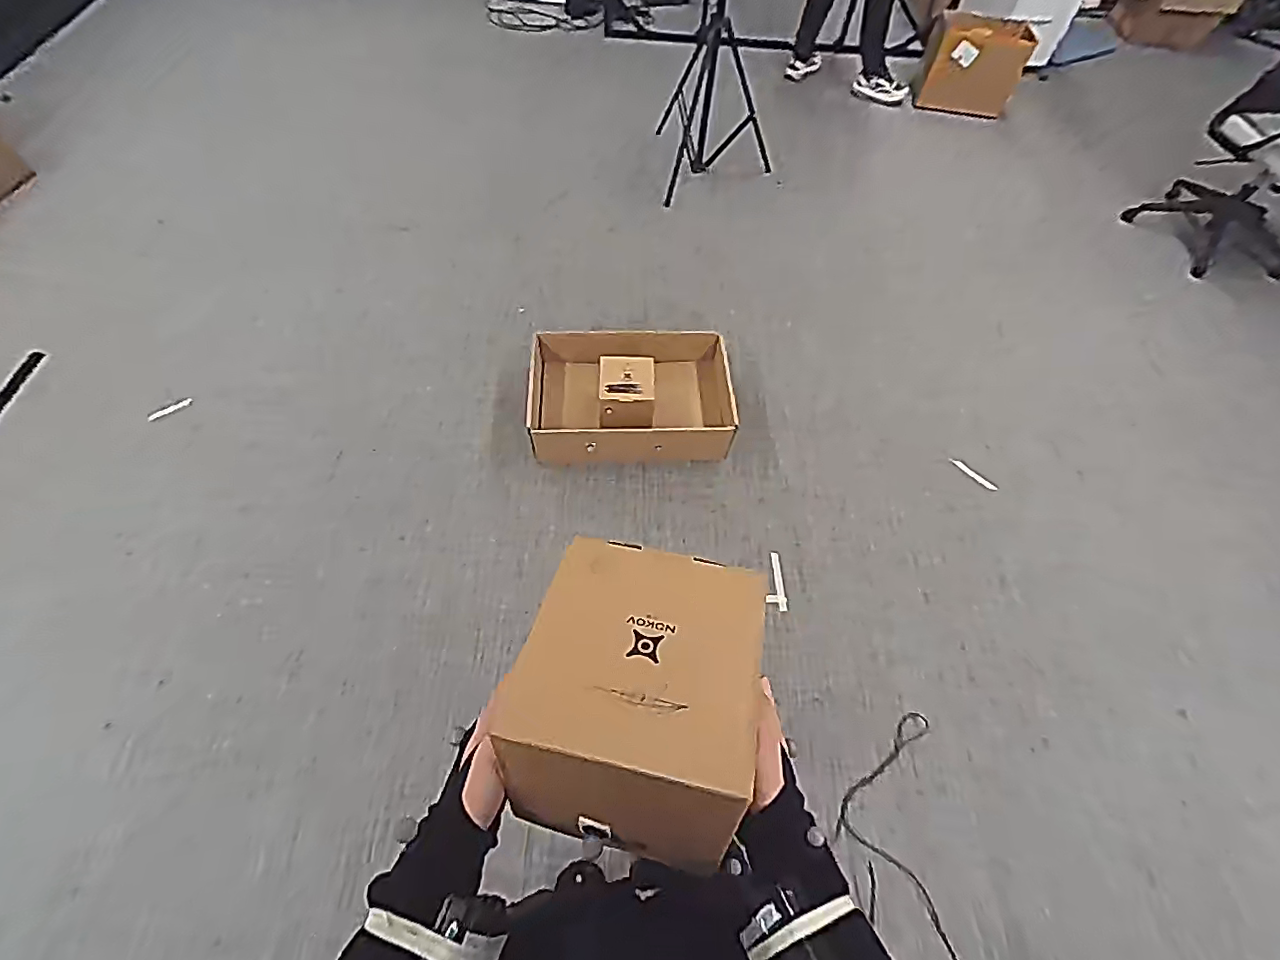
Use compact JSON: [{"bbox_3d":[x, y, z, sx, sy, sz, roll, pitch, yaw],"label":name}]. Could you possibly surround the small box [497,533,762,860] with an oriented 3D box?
[{"bbox_3d":[0.000,0.174,0.446,0.168,0.176,0.179,9,43,7],"label":"small box"}]
